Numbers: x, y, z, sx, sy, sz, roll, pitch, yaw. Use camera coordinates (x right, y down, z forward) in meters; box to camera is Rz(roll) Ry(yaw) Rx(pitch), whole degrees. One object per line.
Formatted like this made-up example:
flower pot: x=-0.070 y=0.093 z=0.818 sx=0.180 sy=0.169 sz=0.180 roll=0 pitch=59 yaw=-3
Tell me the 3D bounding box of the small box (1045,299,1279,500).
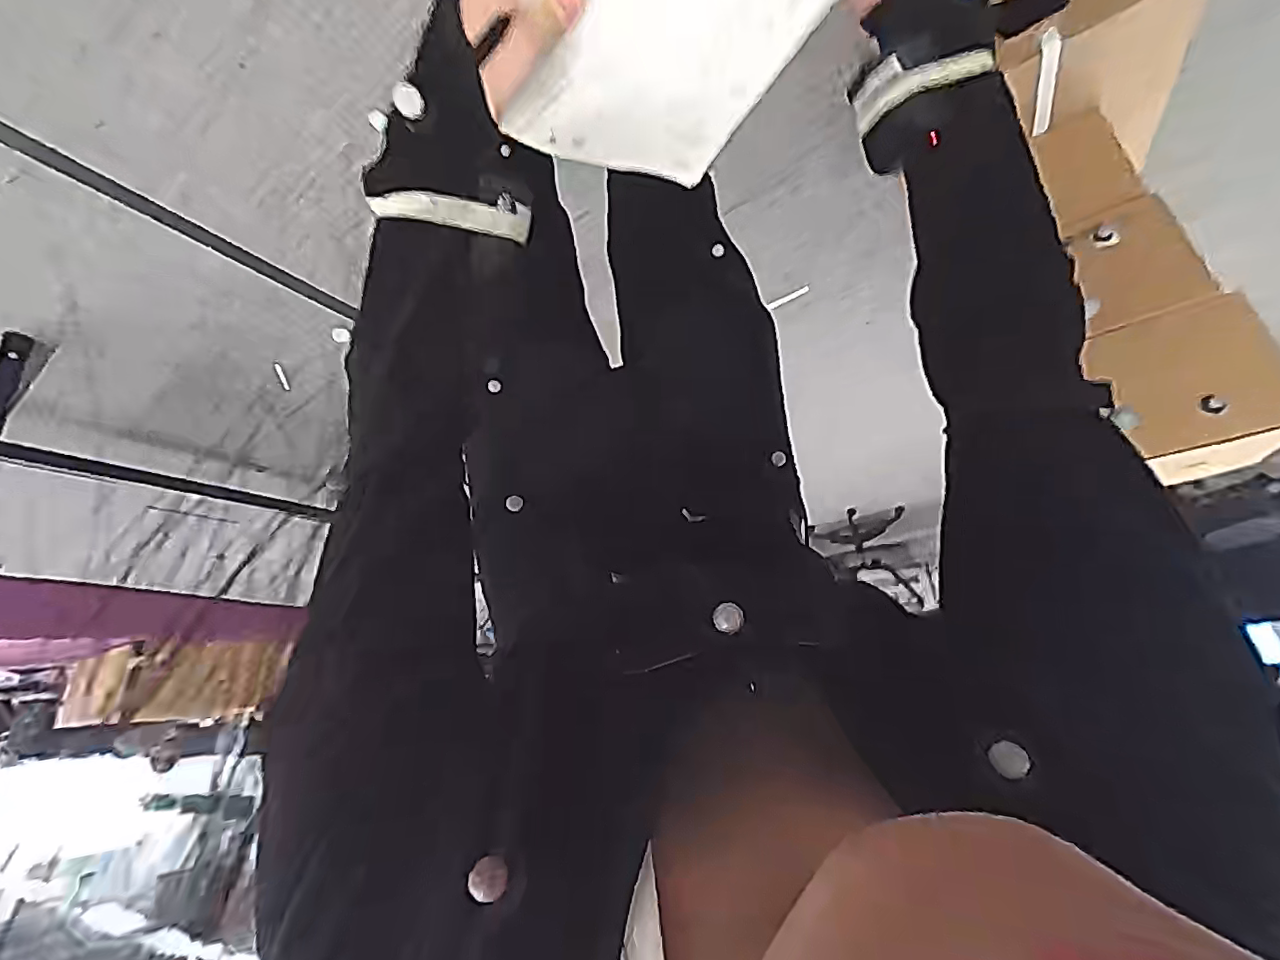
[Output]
small box: x=0.653 y=-0.093 z=0.678 sx=0.179 sy=0.176 sz=0.168 roll=-17 pitch=156 yaw=24
